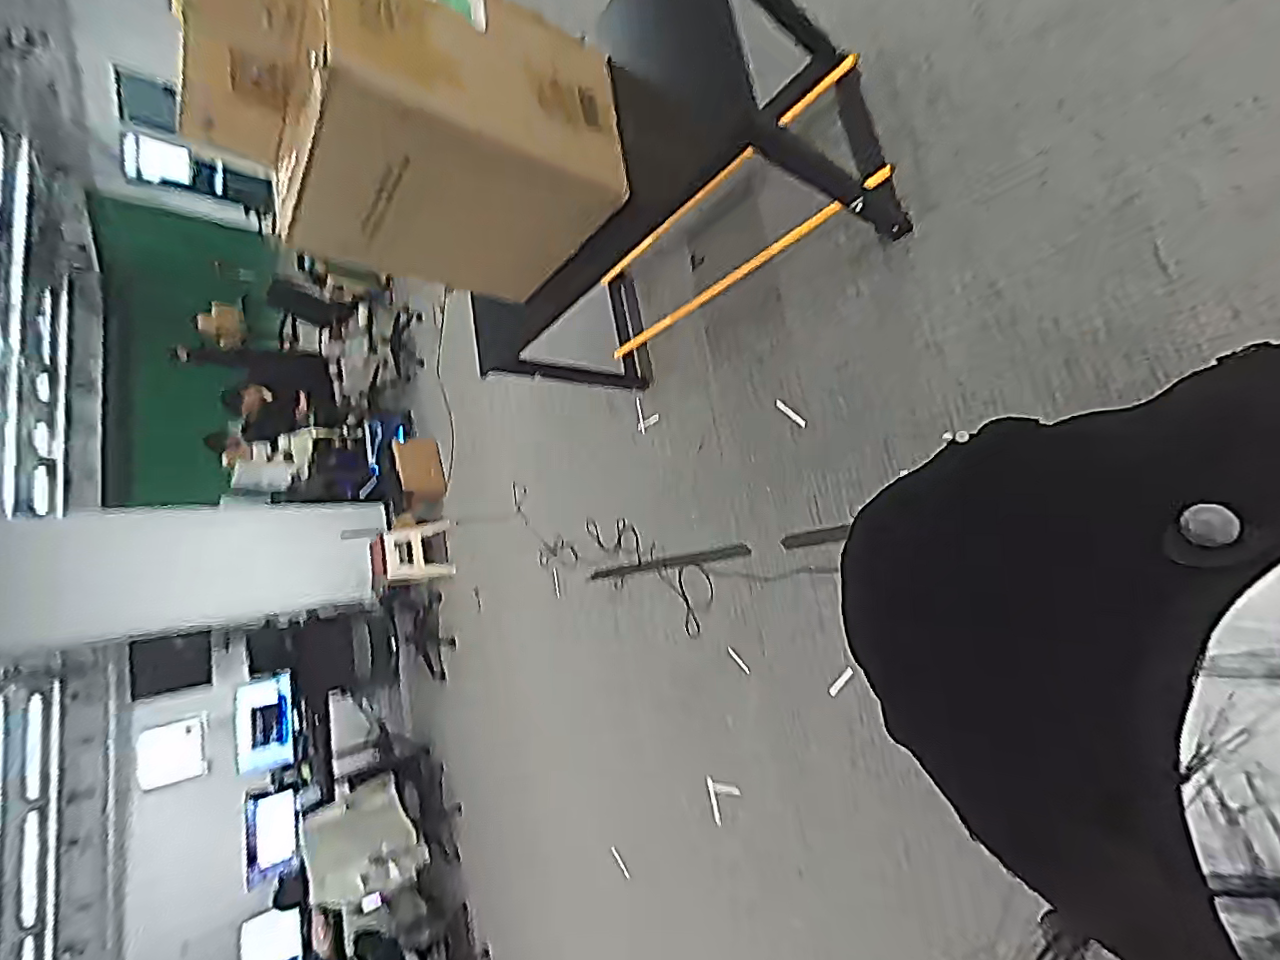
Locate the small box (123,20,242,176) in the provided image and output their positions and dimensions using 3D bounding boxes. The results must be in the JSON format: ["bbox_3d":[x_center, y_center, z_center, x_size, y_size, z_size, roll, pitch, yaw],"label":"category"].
[{"bbox_3d":[-0.913,-0.755,1.083,0.179,0.176,0.168,-20,75,46],"label":"small box"}]
